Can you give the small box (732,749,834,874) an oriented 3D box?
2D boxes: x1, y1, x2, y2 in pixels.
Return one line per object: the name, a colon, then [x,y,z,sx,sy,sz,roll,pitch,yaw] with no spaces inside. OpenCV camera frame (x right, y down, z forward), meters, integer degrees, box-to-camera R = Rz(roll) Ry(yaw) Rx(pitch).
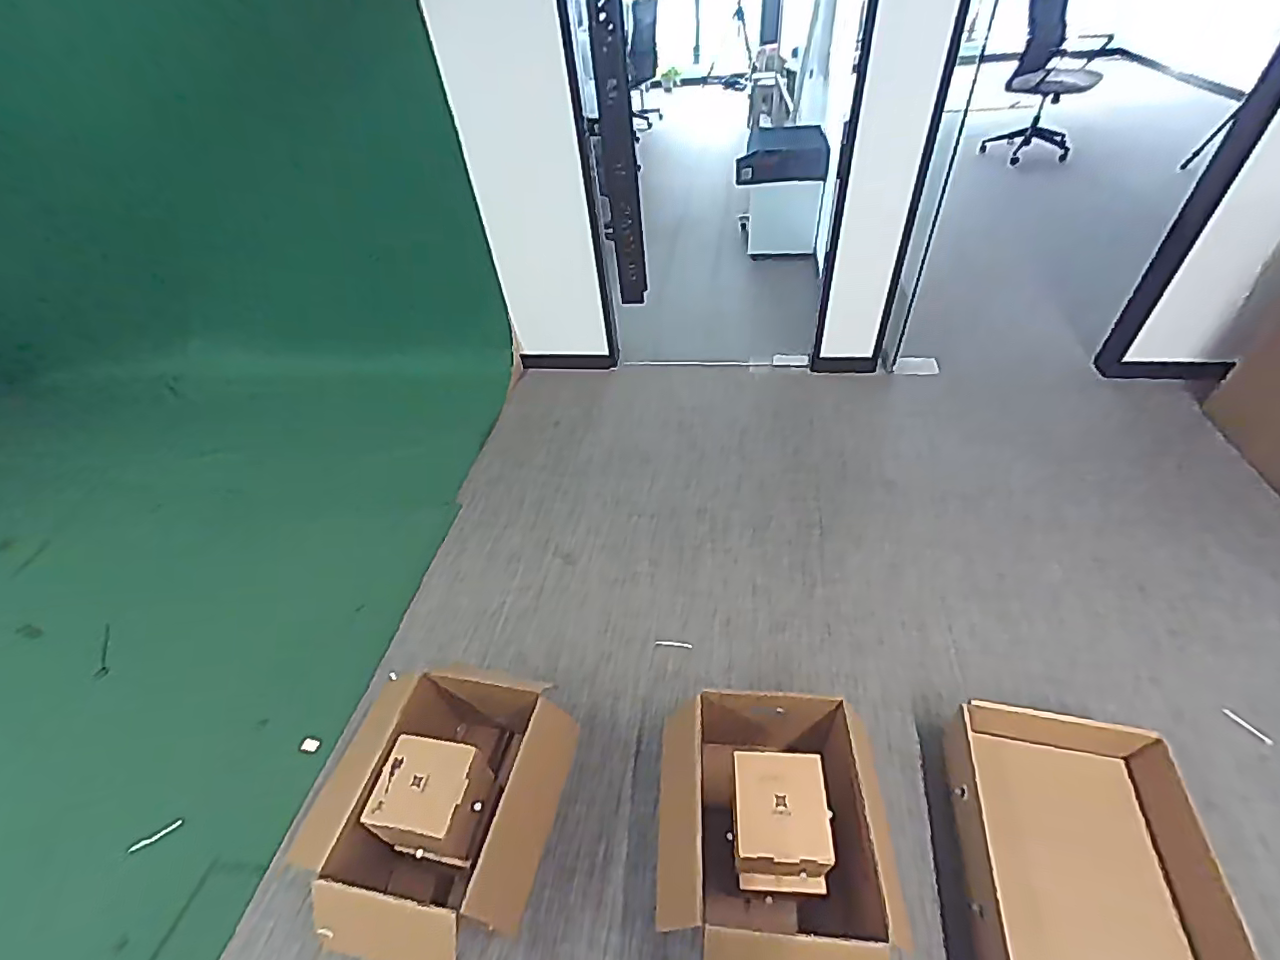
small box: [0.266,0.642,1.044,0.168,0.176,0.179,0,47,6]
